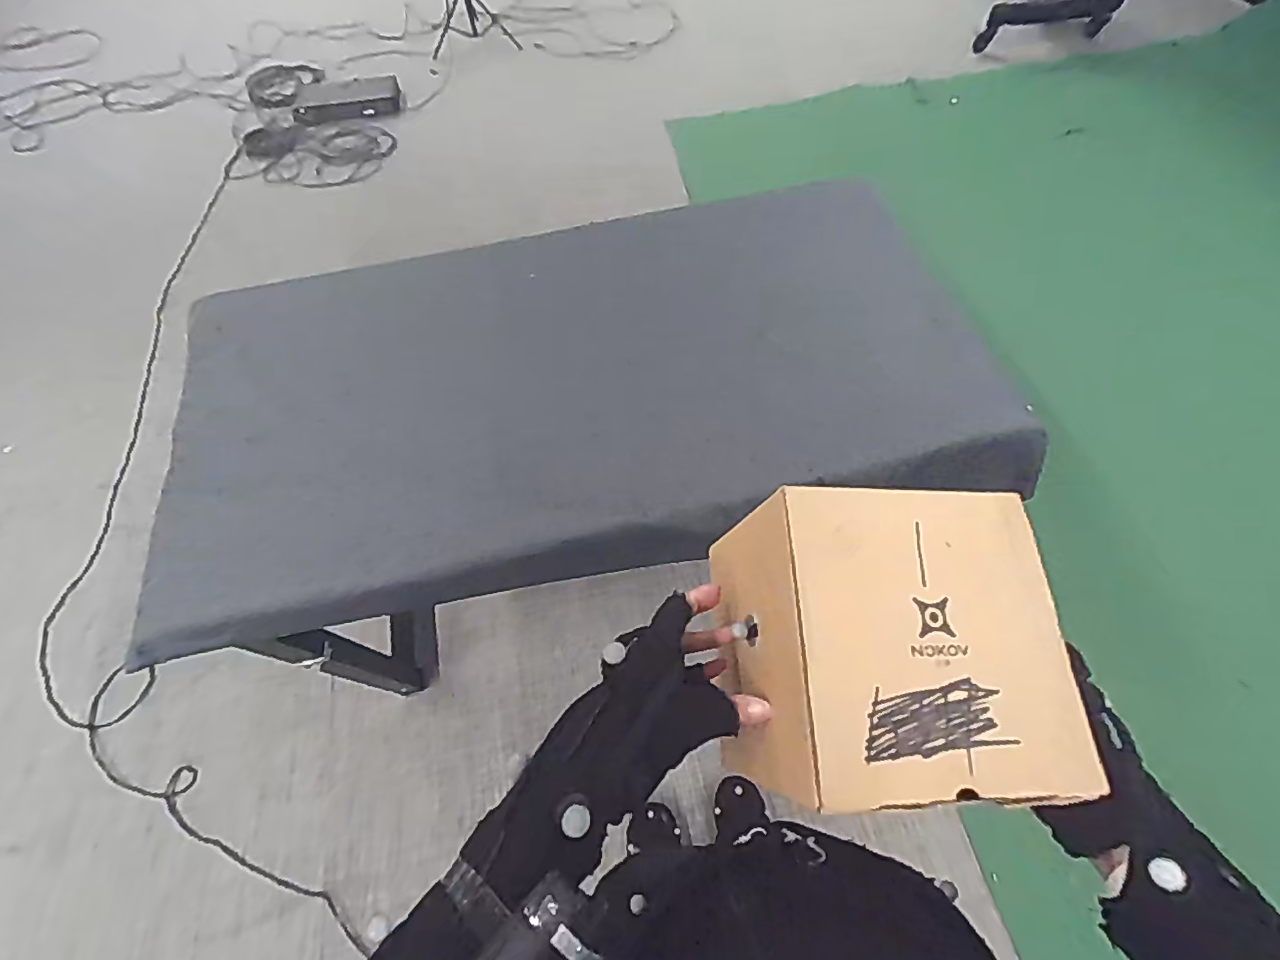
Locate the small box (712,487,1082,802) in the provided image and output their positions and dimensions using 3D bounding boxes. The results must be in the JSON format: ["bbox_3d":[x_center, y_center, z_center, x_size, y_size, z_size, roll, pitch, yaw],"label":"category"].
[{"bbox_3d":[0.155,0.117,0.394,0.168,0.176,0.179,3,69,-9],"label":"small box"}]
